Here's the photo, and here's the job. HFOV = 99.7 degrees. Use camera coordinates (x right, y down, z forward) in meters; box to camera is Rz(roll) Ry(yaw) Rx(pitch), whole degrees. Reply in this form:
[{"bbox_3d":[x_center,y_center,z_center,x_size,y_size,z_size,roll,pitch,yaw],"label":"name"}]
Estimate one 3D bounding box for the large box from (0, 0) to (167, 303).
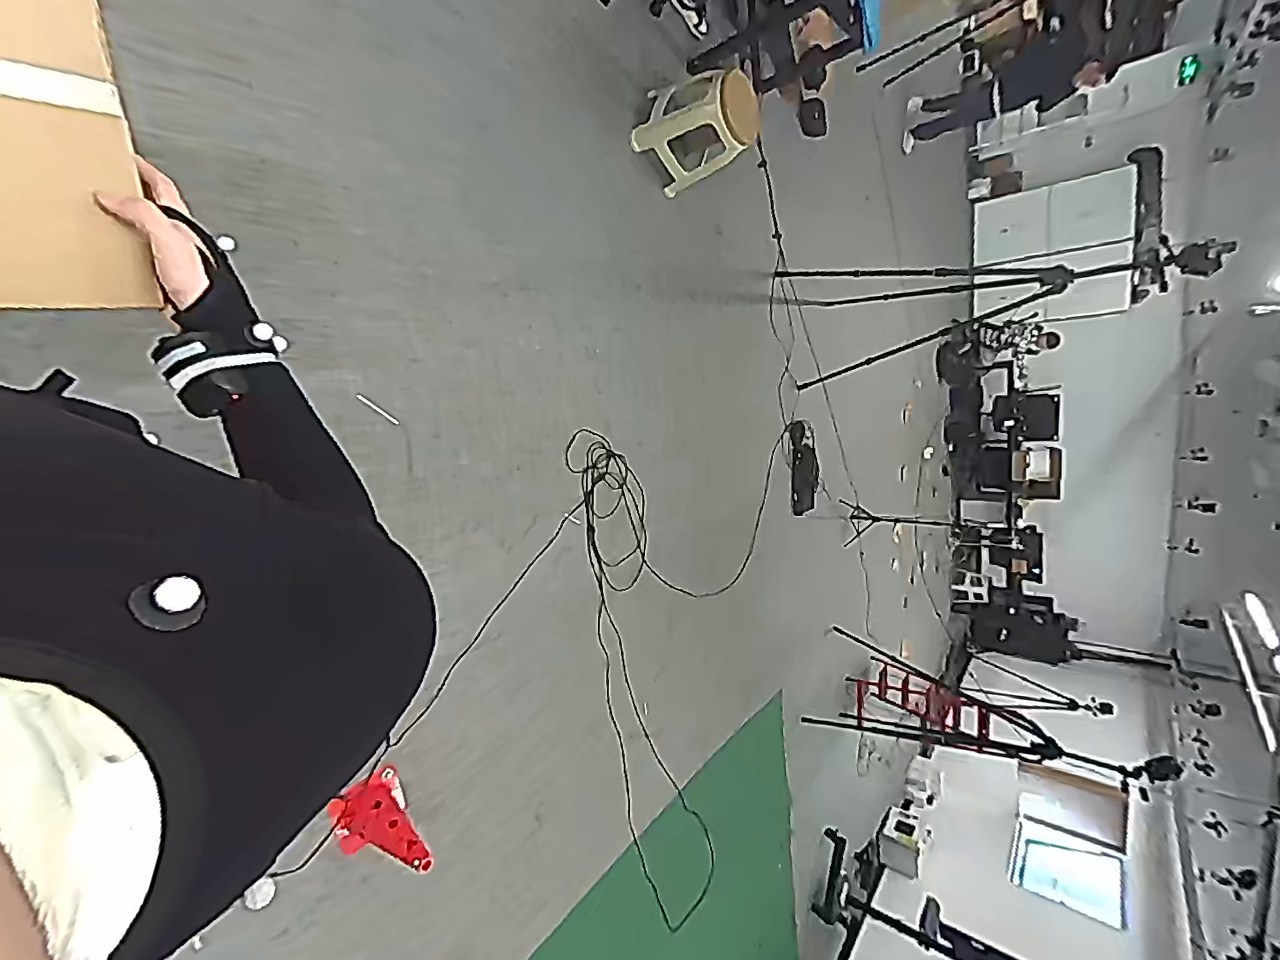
[{"bbox_3d":[-0.655,-0.306,0.375,0.408,0.320,0.320,-20,127,-45],"label":"large box"}]
